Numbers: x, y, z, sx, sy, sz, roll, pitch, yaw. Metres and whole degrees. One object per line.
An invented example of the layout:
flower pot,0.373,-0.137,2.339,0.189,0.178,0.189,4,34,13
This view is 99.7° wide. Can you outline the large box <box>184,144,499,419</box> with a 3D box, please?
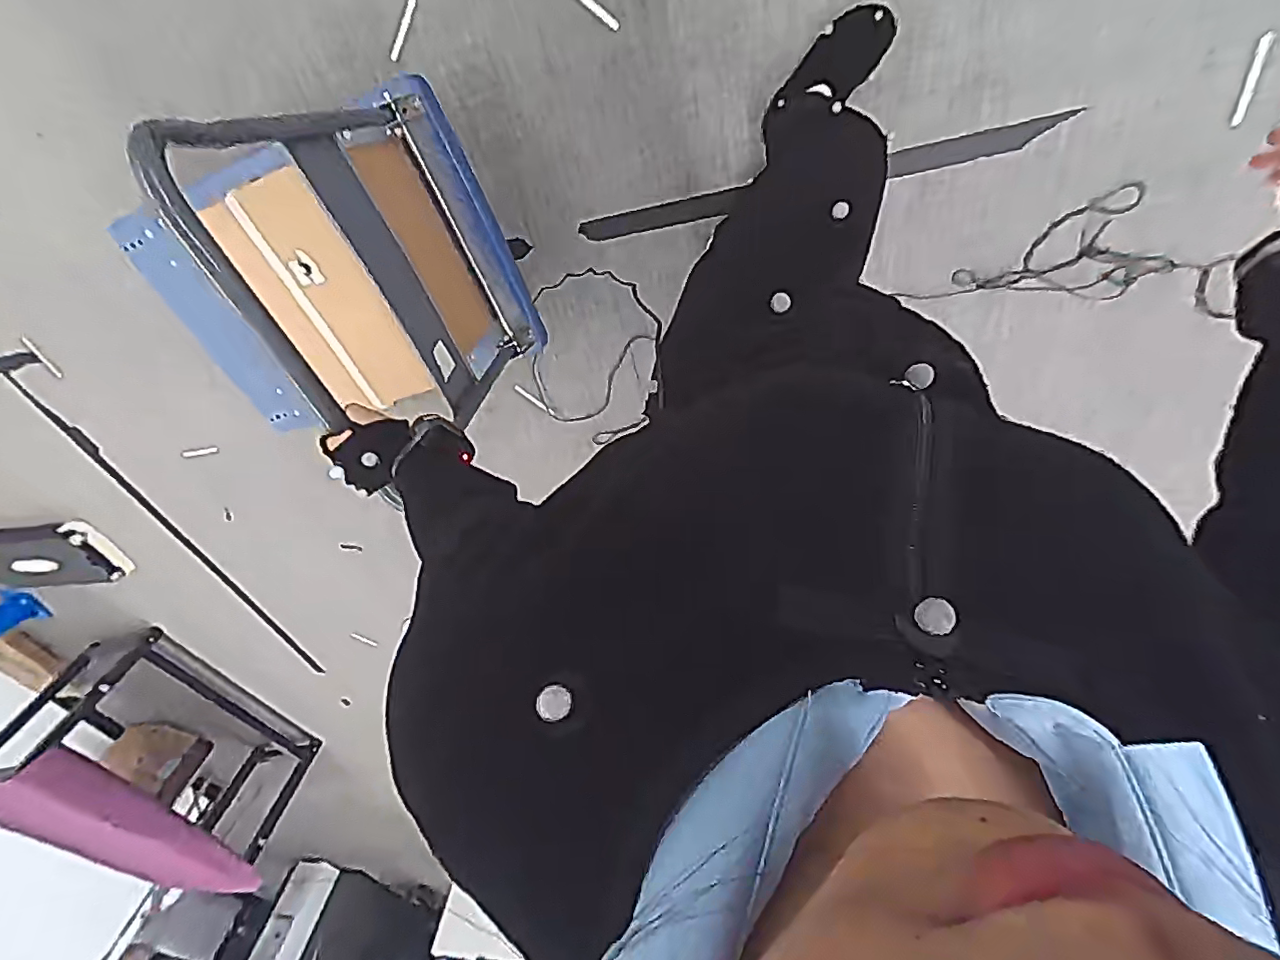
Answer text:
large box,-0.556,-0.398,1.103,0.320,0.320,0.408,-13,124,17
